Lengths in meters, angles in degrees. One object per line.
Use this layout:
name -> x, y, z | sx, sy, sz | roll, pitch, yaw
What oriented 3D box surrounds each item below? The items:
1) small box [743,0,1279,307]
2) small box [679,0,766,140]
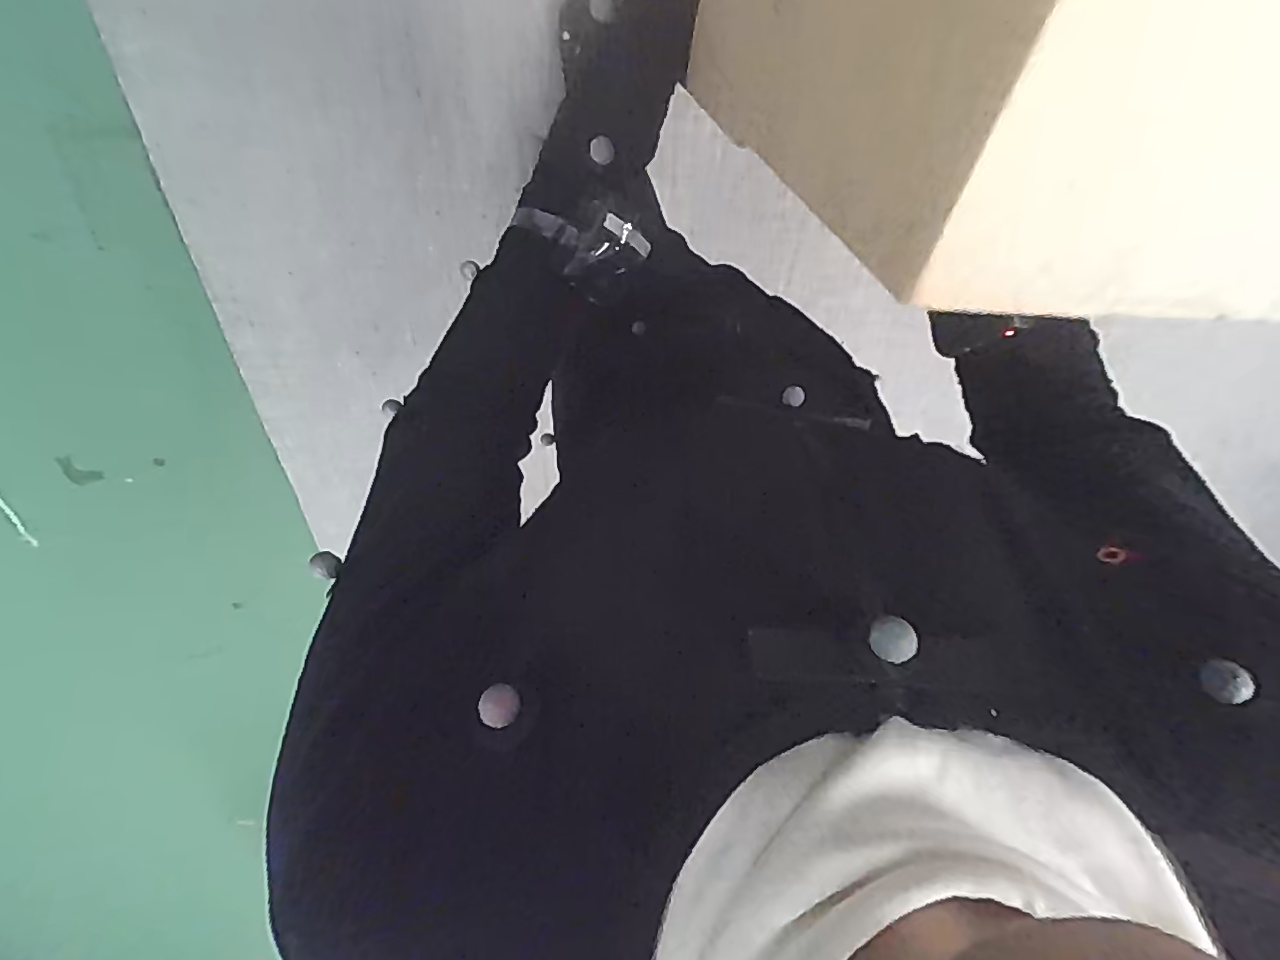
small box -> 0.151, -0.169, 0.159 | 0.179, 0.176, 0.168 | -1, 136, -11
small box -> 0.120, -0.290, 0.268 | 0.168, 0.176, 0.179 | -4, 137, -9
